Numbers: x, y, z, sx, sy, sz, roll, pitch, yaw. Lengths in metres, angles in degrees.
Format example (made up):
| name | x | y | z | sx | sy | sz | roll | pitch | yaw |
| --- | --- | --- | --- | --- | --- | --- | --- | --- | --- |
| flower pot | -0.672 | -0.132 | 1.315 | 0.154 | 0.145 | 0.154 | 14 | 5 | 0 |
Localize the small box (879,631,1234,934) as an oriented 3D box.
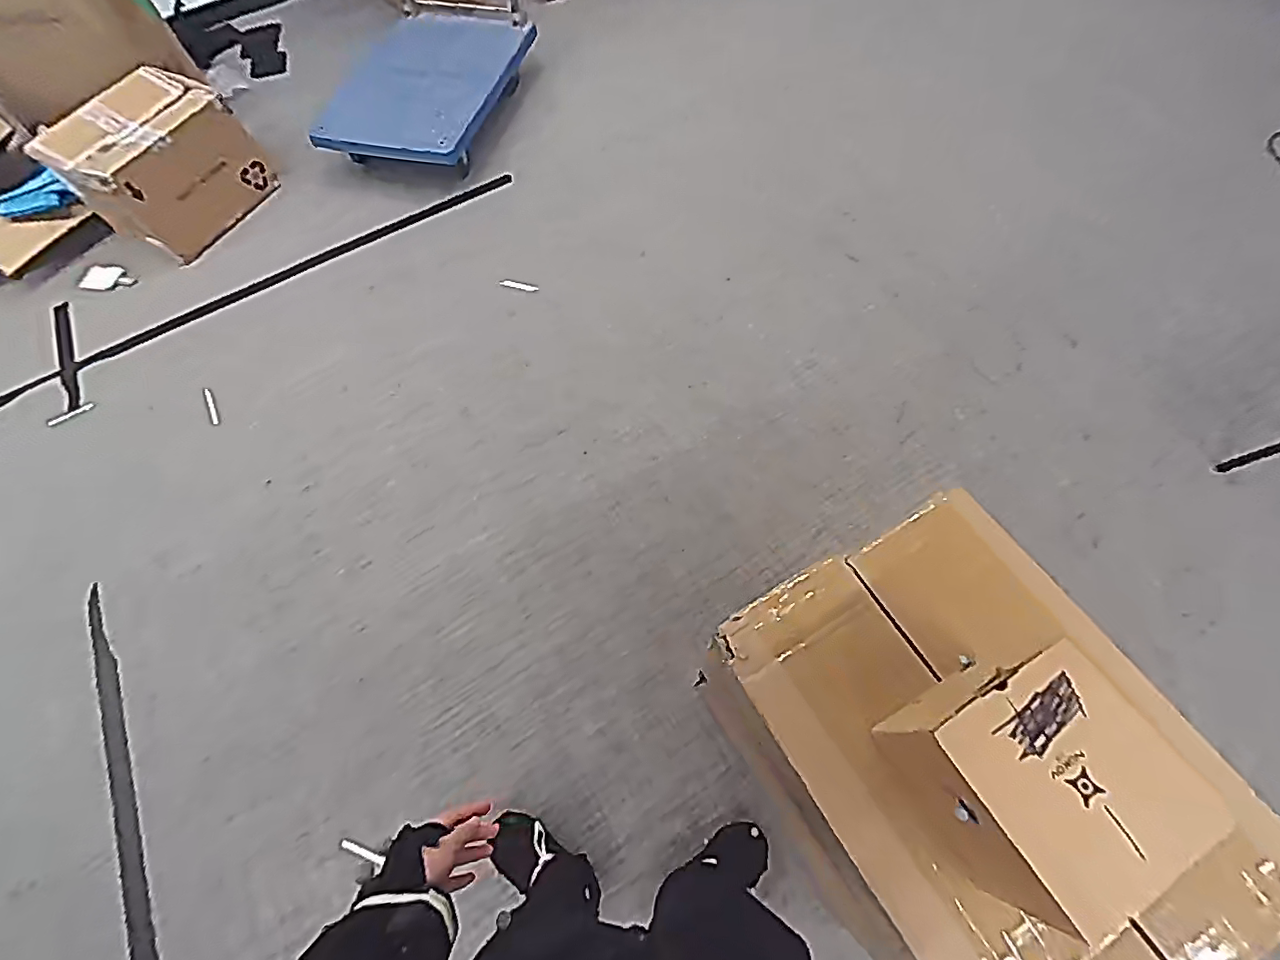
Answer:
| name | x | y | z | sx | sy | sz | roll | pitch | yaw |
| --- | --- | --- | --- | --- | --- | --- | --- | --- | --- |
| small box | 0.371 | 0.277 | 0.527 | 0.168 | 0.176 | 0.179 | -29 | 67 | -9 |
